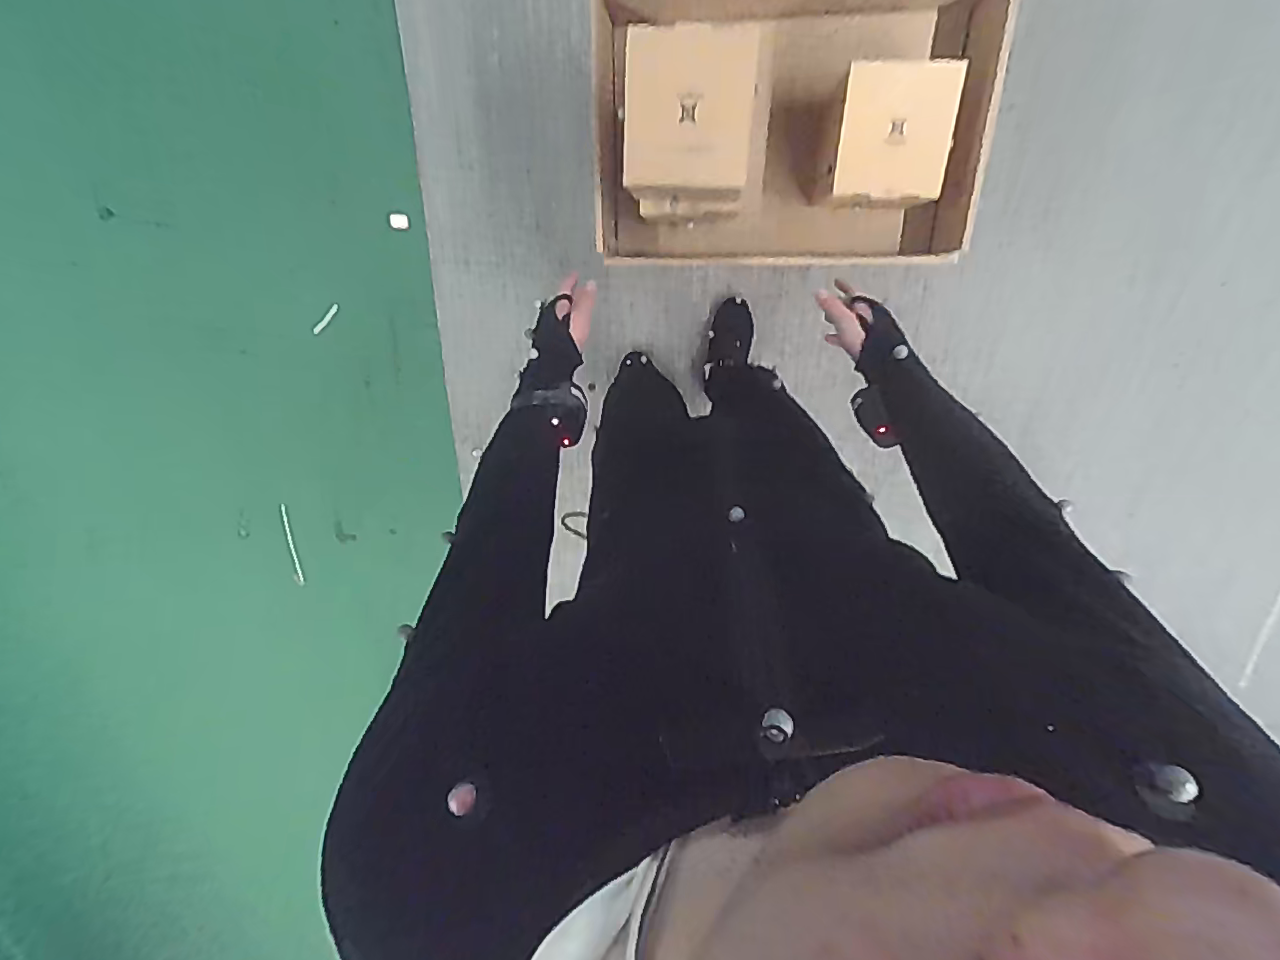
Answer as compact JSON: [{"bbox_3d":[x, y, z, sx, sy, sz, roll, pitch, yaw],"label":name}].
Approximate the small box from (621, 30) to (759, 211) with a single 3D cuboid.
[{"bbox_3d":[0.068,-0.493,0.764,0.168,0.176,0.179,5,110,5],"label":"small box"}]
